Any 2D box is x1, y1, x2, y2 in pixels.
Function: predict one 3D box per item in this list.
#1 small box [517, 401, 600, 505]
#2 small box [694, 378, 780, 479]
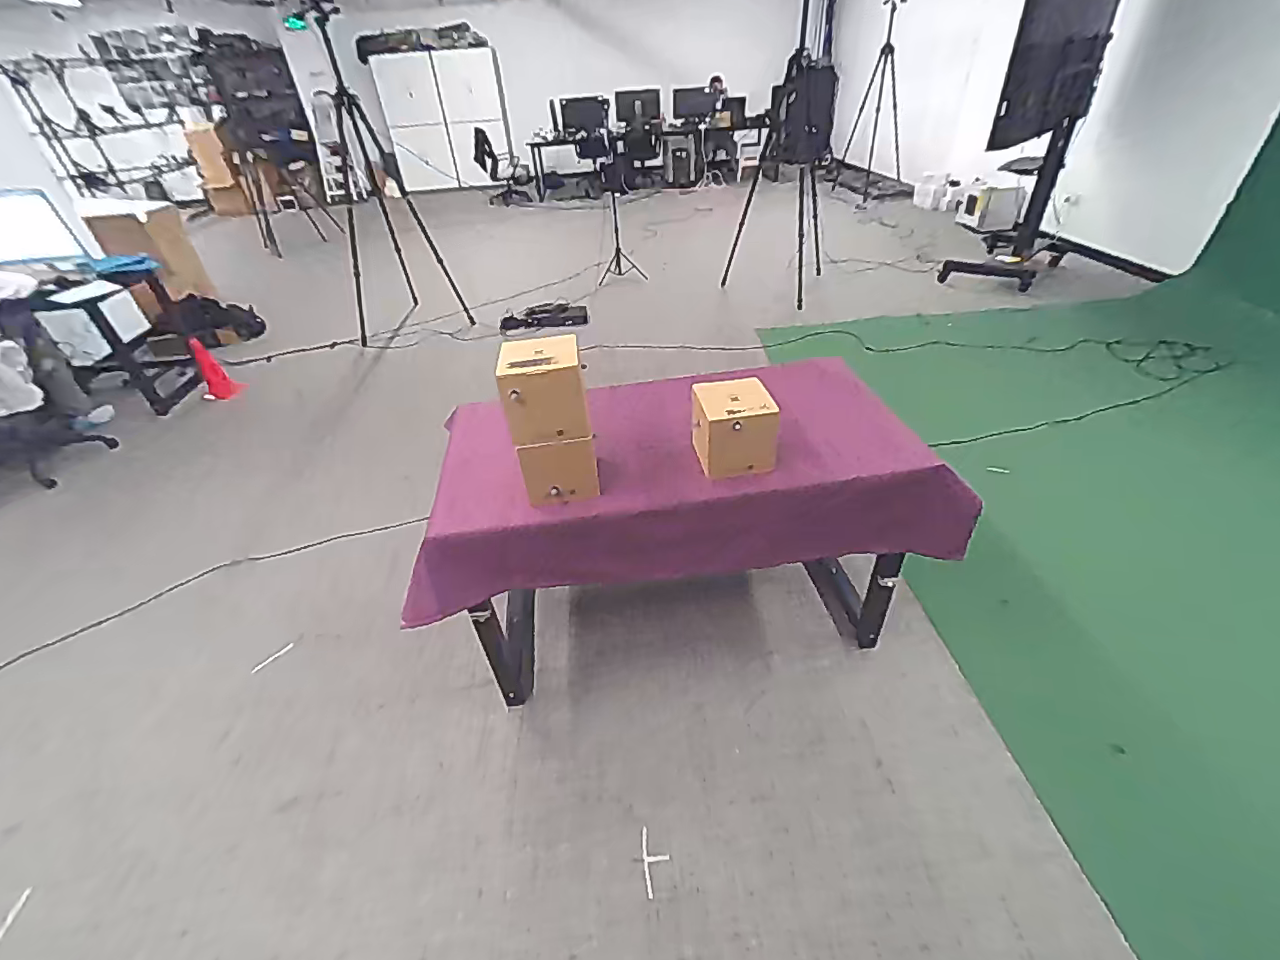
[{"bbox_3d":[-0.188,-0.064,1.274,0.168,0.176,0.179,-7,38,-3],"label":"small box"},{"bbox_3d":[0.227,-0.125,1.306,0.168,0.176,0.179,-9,37,-3],"label":"small box"}]
